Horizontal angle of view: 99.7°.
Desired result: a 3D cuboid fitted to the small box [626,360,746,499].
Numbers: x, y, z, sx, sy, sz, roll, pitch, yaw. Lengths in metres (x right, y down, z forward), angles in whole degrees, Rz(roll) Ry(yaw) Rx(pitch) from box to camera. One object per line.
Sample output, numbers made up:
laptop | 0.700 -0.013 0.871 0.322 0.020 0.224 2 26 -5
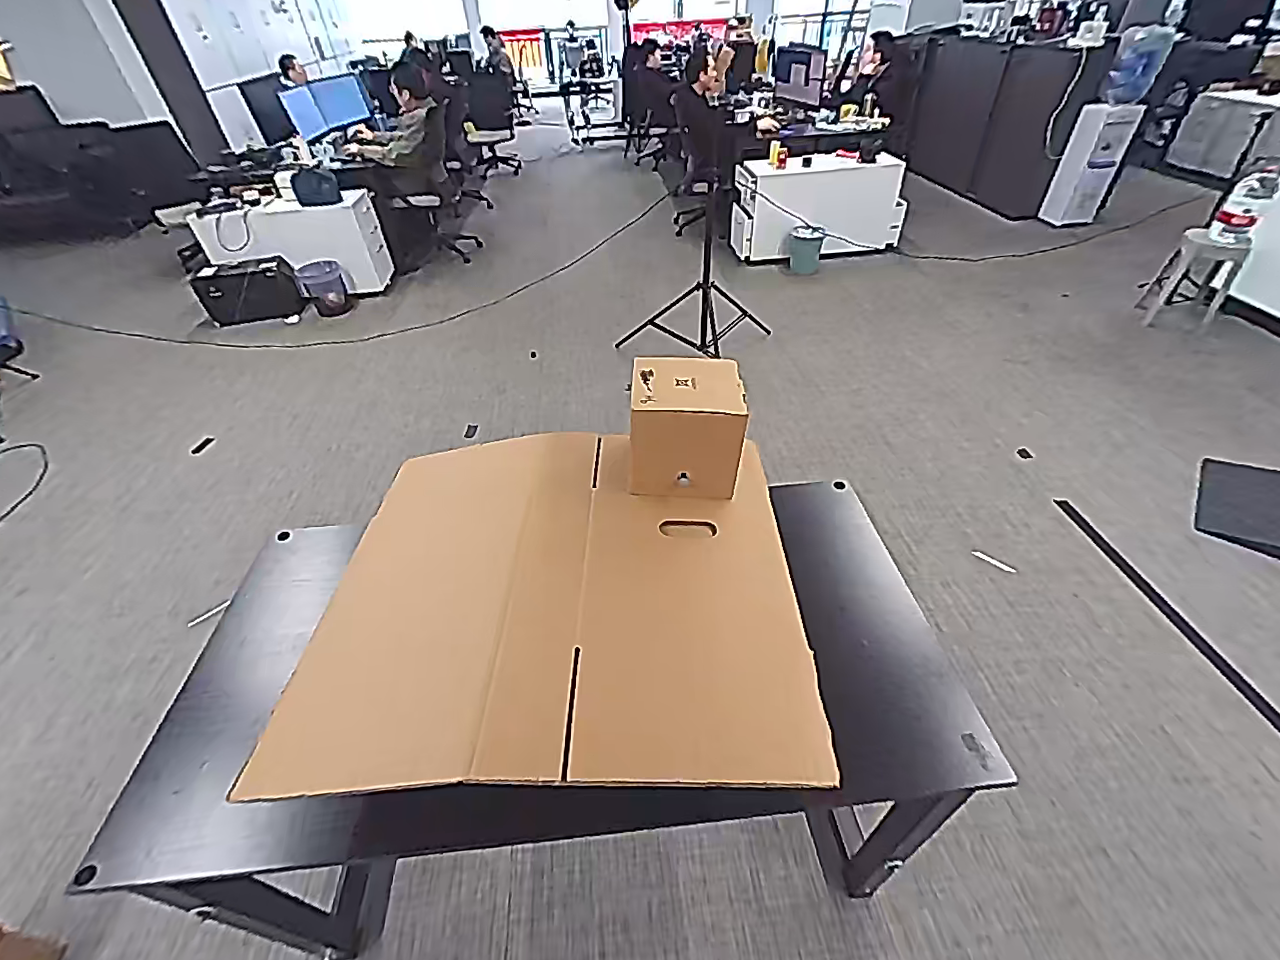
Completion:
small box | 0.070 -0.083 0.909 0.179 0.176 0.168 3 39 -1

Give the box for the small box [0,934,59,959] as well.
small box | -1.339 1.047 1.078 0.168 0.176 0.179 -8 42 -5
